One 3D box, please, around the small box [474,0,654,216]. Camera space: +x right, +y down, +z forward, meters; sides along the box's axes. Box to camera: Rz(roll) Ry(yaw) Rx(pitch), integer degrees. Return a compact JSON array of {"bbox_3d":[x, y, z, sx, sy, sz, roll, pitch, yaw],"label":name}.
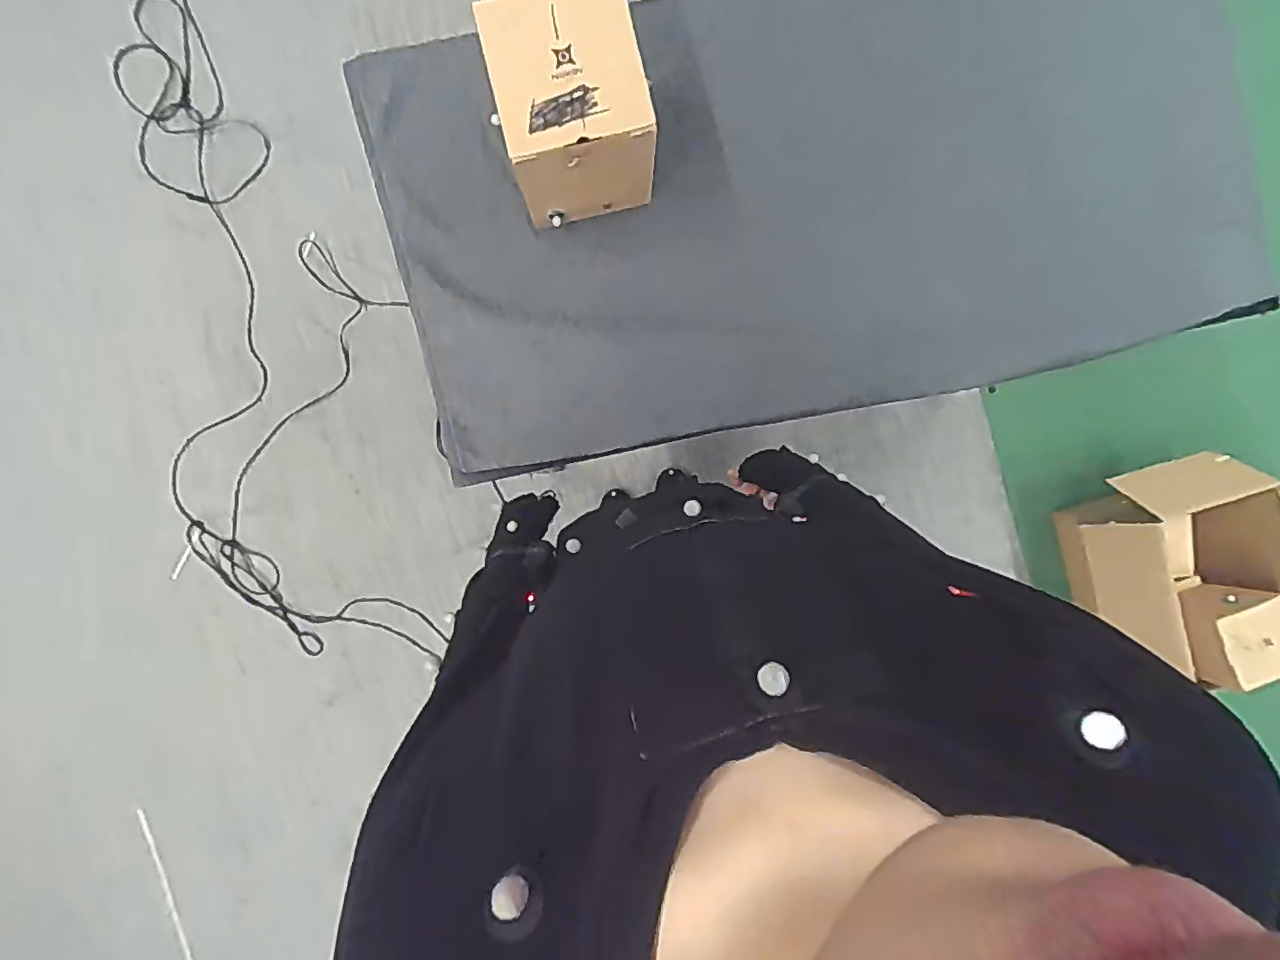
[{"bbox_3d":[-0.082,-0.449,0.661,0.168,0.176,0.179,-14,91,-1],"label":"small box"}]
